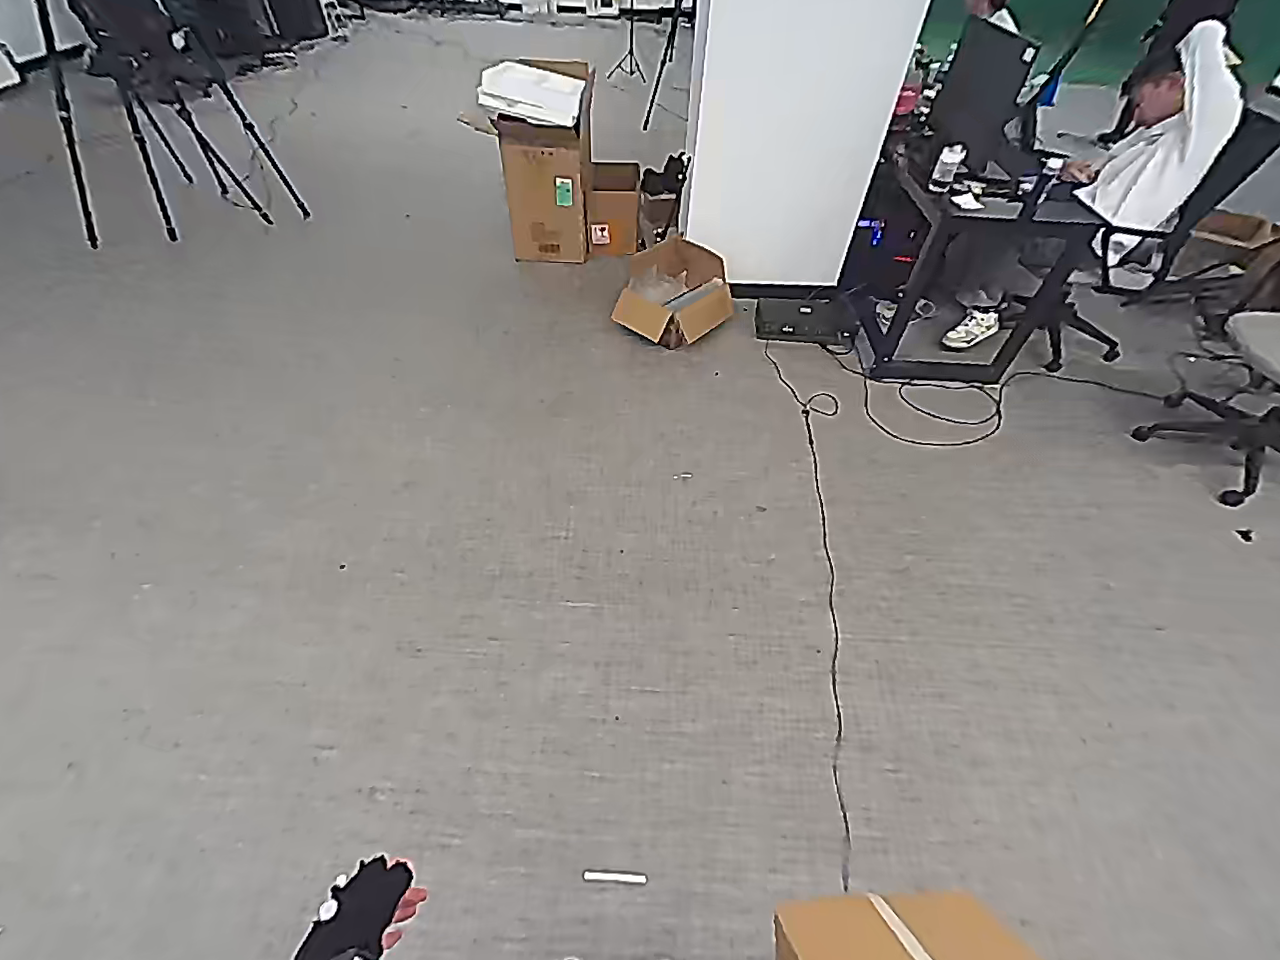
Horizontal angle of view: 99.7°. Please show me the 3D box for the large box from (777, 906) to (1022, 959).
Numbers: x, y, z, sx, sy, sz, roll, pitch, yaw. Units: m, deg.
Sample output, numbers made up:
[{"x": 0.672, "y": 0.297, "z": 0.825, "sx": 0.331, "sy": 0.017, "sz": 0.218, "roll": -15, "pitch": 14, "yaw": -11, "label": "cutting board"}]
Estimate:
[{"x": 0.370, "y": 0.780, "z": 0.608, "sx": 0.320, "sy": 0.408, "sz": 0.320, "roll": 1, "pitch": 84, "yaw": -5, "label": "large box"}]
